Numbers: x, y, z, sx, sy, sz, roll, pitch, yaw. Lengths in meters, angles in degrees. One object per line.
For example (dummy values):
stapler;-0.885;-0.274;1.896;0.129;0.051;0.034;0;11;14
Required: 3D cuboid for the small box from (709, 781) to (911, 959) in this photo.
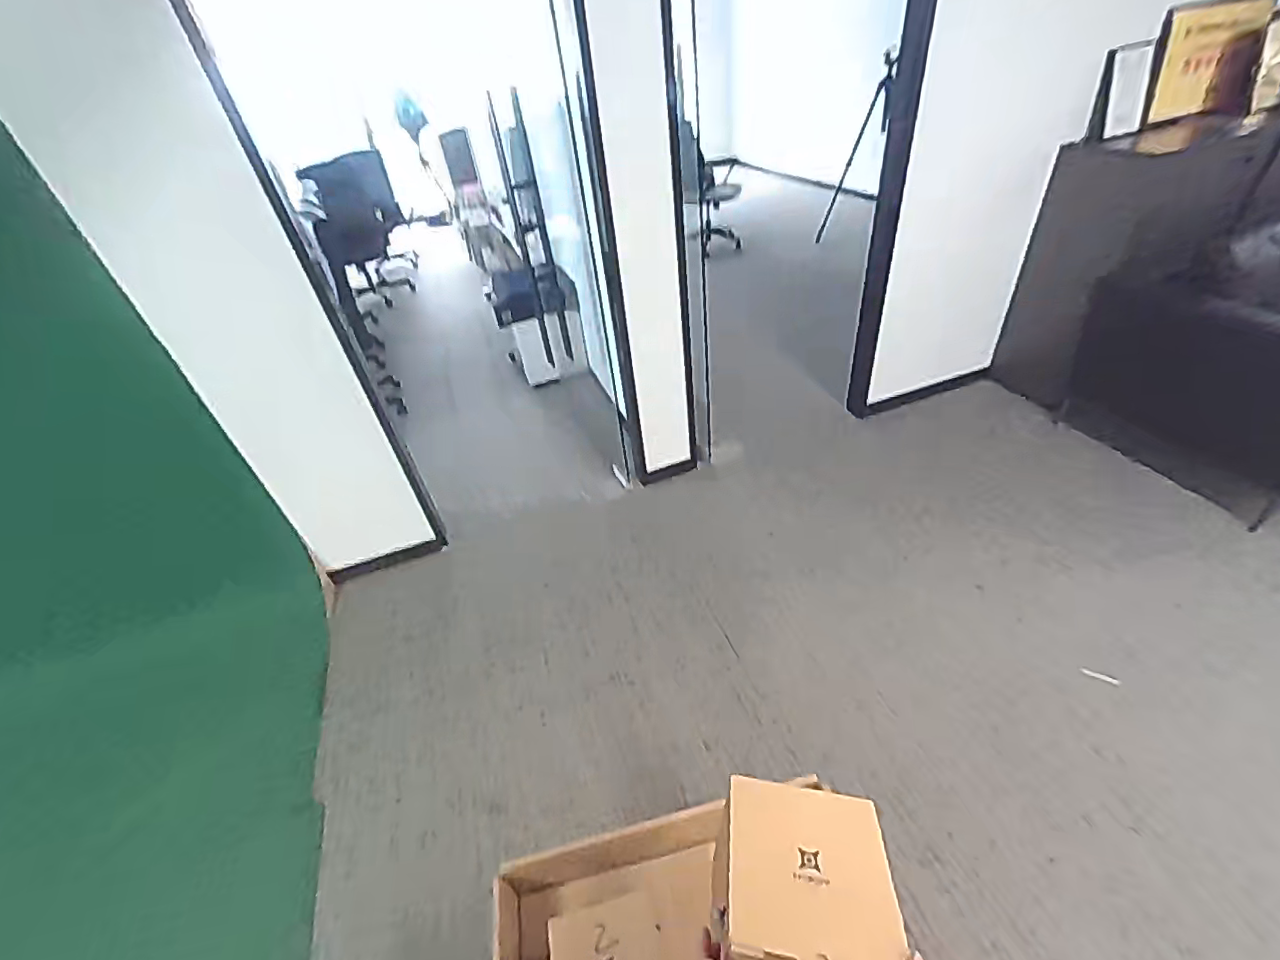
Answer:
small box;0.166;0.469;0.580;0.168;0.176;0.179;8;27;5
